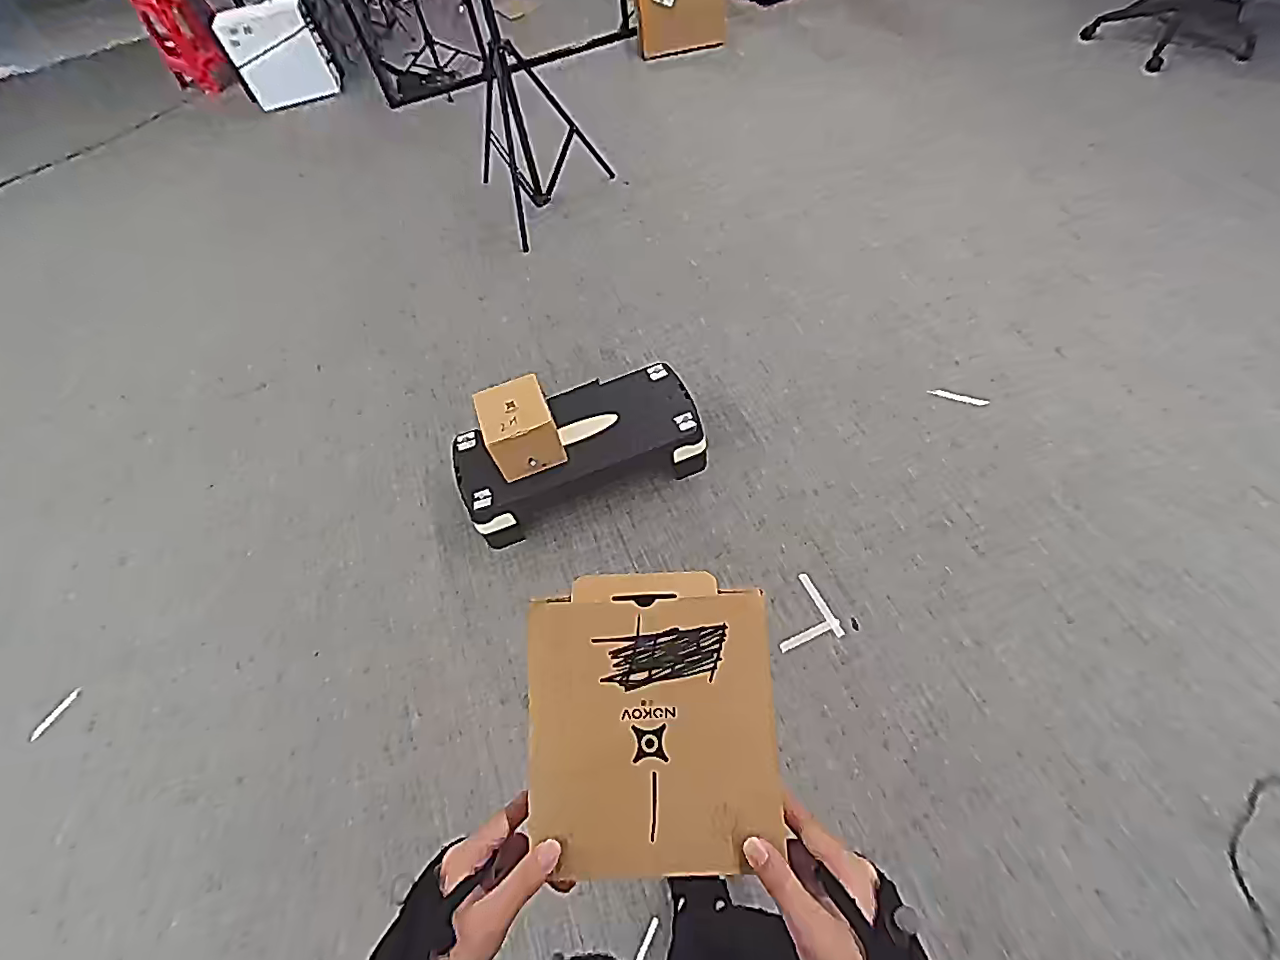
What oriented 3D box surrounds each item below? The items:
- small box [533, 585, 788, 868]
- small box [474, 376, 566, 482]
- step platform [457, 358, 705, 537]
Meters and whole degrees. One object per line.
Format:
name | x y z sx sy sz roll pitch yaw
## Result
small box | 0.013 0.176 0.437 0.168 0.176 0.179 -1 80 2
small box | -0.301 -0.125 1.369 0.168 0.176 0.179 -21 58 -5
step platform | -0.163 -0.098 1.541 0.684 0.204 0.286 -22 58 -5
